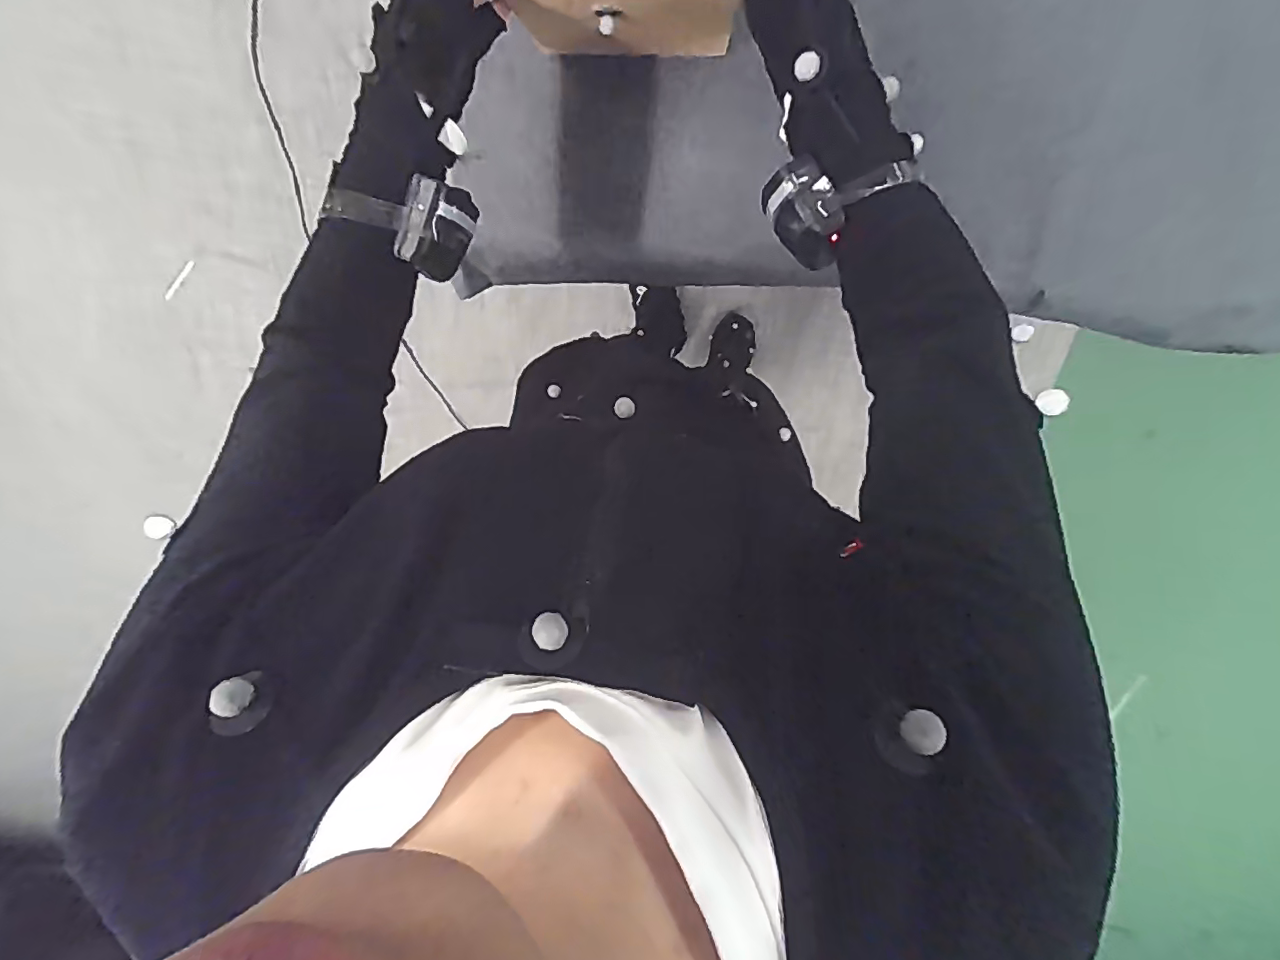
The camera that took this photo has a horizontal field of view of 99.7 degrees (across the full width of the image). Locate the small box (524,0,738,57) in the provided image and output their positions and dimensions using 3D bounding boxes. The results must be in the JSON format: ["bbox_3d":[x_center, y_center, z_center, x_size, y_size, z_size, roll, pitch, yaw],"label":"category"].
[{"bbox_3d":[-0.005,-0.449,0.418,0.179,0.176,0.168,3,117,3],"label":"small box"}]
